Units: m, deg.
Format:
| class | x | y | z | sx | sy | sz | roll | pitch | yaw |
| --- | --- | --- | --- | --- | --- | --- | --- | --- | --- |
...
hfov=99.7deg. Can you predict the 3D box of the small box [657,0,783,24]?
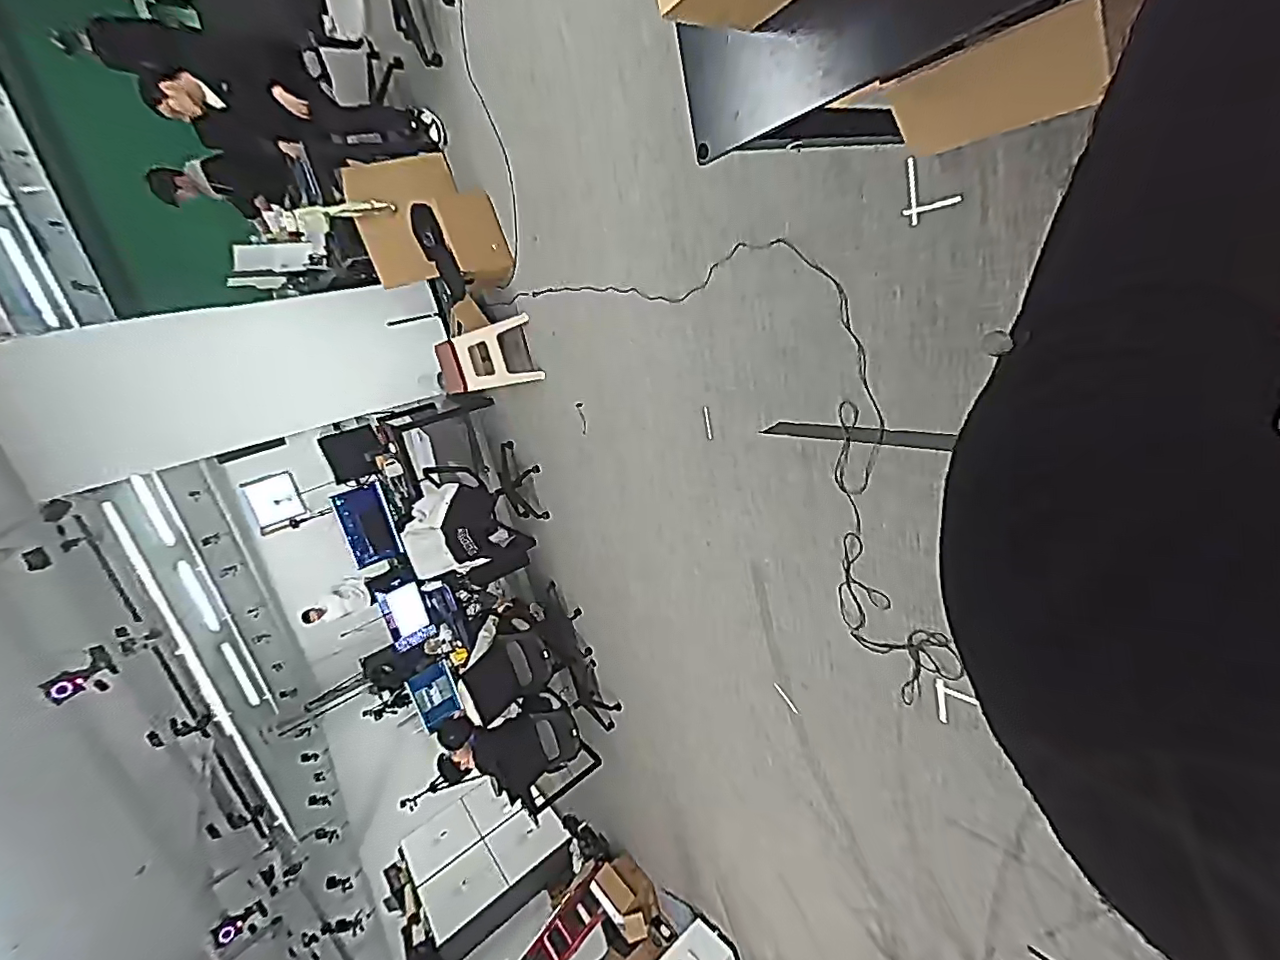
| class | x | y | z | sx | sy | sz | roll | pitch | yaw |
| --- | --- | --- | --- | --- | --- | --- | --- | --- | --- |
| small box | 0.121 | -0.666 | 0.616 | 0.179 | 0.176 | 0.168 | 10 | 118 | 53 |
